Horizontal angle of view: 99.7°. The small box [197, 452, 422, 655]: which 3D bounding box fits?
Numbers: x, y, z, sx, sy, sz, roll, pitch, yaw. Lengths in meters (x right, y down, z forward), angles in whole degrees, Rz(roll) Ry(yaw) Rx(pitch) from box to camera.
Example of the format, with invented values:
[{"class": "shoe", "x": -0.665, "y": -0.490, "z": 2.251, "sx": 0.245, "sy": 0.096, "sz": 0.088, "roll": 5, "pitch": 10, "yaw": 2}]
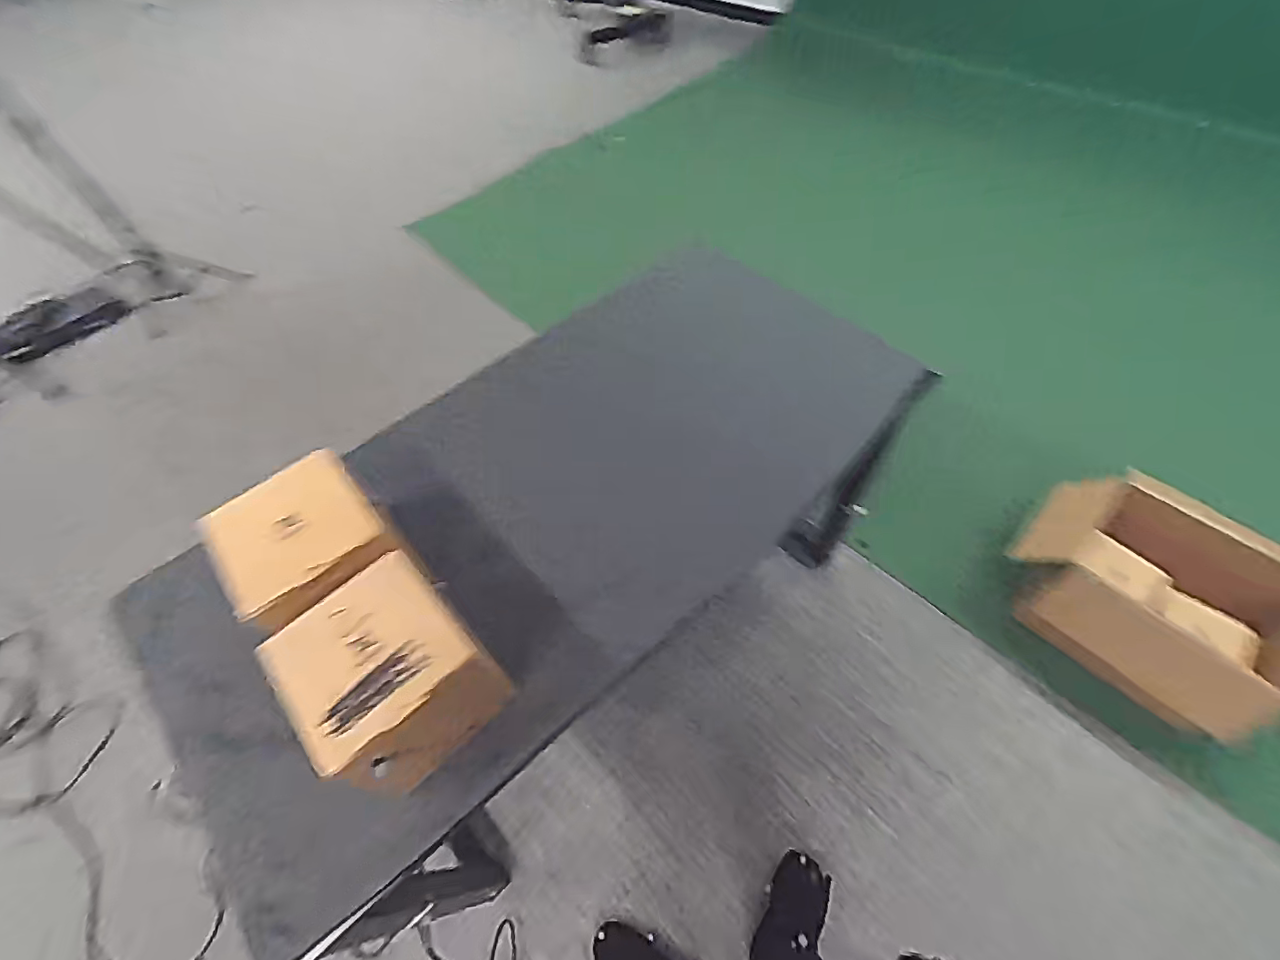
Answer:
[{"class": "small box", "x": -0.429, "y": 0.102, "z": 0.724, "sx": 0.168, "sy": 0.176, "sz": 0.179, "roll": -38, "pitch": 63, "yaw": -19}]
